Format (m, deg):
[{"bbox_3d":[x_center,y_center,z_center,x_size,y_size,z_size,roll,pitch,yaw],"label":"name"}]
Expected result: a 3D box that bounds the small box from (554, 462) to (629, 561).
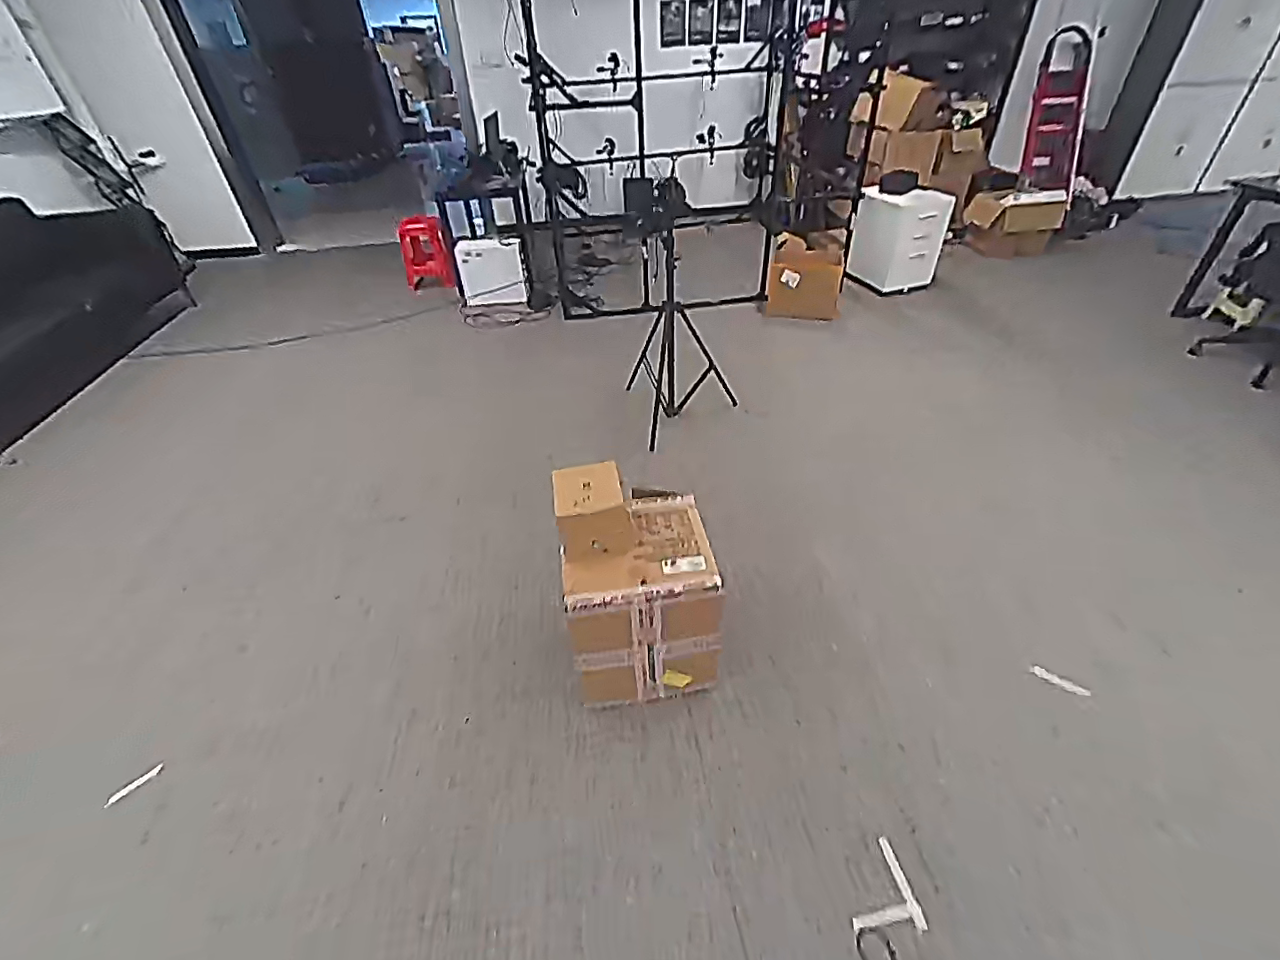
[{"bbox_3d":[-0.125,0.082,1.393,0.168,0.176,0.179,-10,42,-4],"label":"small box"}]
